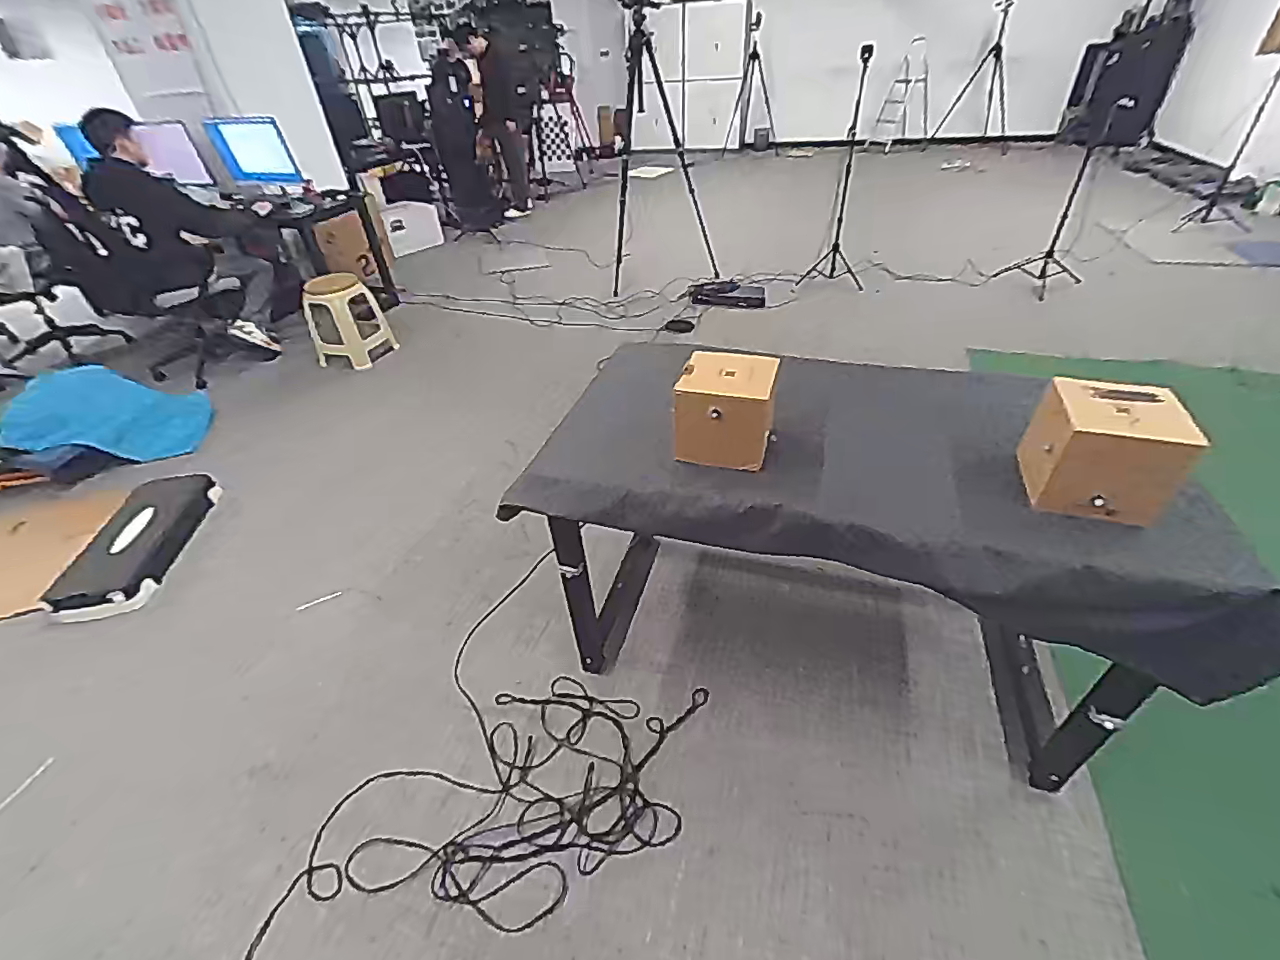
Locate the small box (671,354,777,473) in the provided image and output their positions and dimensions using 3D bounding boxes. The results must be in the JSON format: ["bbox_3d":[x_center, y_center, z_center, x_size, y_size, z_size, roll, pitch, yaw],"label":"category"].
[{"bbox_3d":[0.166,-0.132,1.074,0.179,0.176,0.168,10,41,15],"label":"small box"}]
